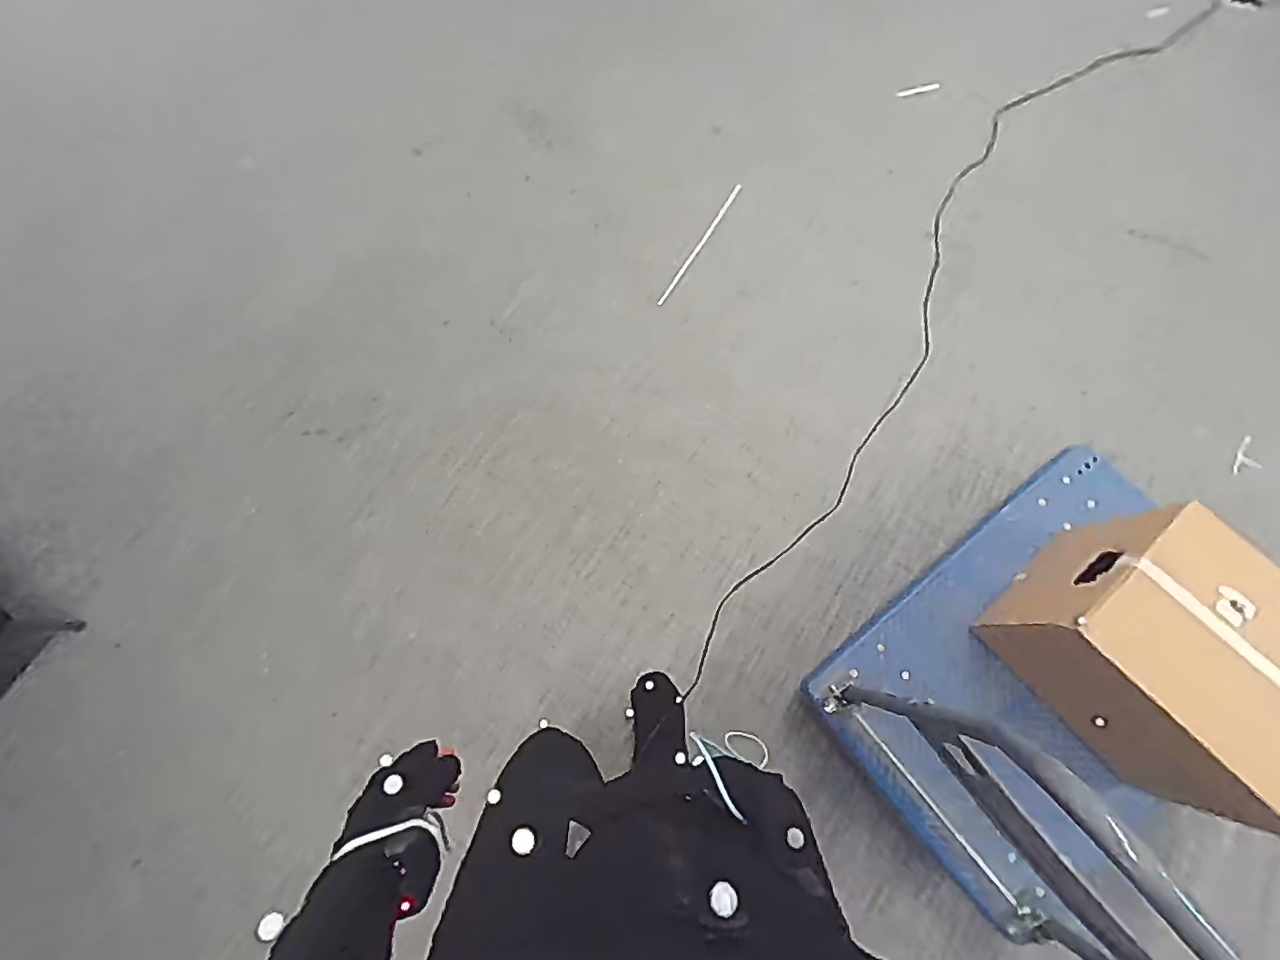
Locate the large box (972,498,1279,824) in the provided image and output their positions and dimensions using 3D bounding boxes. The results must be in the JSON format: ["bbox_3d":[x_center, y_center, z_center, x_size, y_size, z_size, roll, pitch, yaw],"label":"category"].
[{"bbox_3d":[0.925,0.303,0.964,0.320,0.320,0.408,-42,77,-9],"label":"large box"}]
